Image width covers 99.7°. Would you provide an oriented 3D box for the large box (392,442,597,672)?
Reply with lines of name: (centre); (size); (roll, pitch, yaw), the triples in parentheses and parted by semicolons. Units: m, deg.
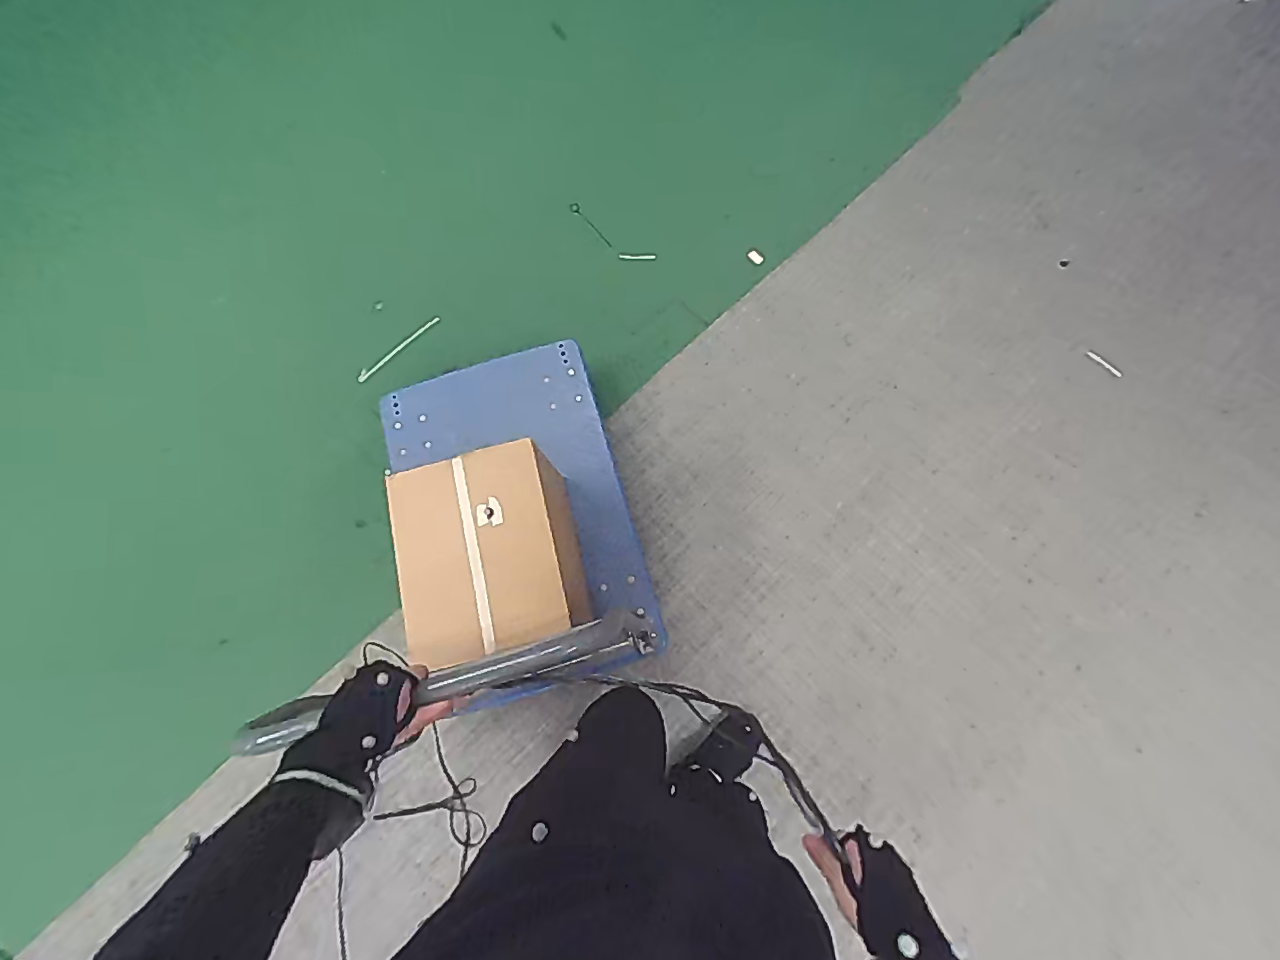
large box: (-0.308, 0.182, 1.212); (0.320, 0.320, 0.408); (-14, 74, 0)
